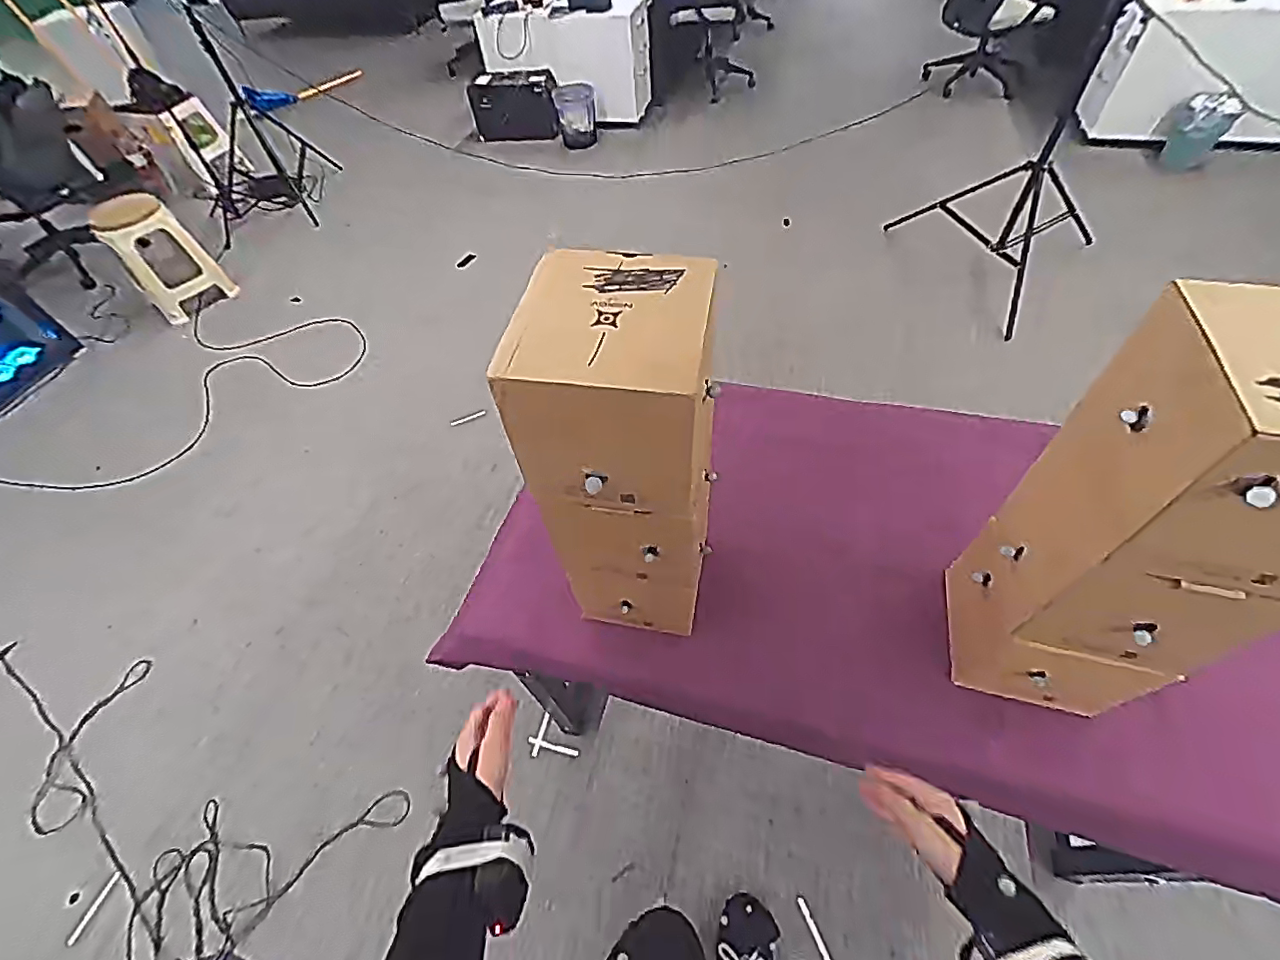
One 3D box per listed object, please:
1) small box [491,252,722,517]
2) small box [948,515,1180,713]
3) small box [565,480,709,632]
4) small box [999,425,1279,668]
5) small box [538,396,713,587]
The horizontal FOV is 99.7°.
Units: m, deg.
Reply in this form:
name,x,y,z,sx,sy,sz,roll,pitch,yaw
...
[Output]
name,x,y,z,sx,sy,sz,roll,pitch,yaw
small box,-0.018,-0.089,0.516,0.168,0.176,0.179,7,55,9
small box,0.511,0.174,0.687,0.168,0.176,0.179,10,54,13
small box,0.006,0.101,0.781,0.168,0.176,0.179,8,53,10
small box,0.502,0.072,0.559,0.168,0.176,0.179,11,55,13
small box,-0.005,0.010,0.647,0.168,0.176,0.179,7,53,8
